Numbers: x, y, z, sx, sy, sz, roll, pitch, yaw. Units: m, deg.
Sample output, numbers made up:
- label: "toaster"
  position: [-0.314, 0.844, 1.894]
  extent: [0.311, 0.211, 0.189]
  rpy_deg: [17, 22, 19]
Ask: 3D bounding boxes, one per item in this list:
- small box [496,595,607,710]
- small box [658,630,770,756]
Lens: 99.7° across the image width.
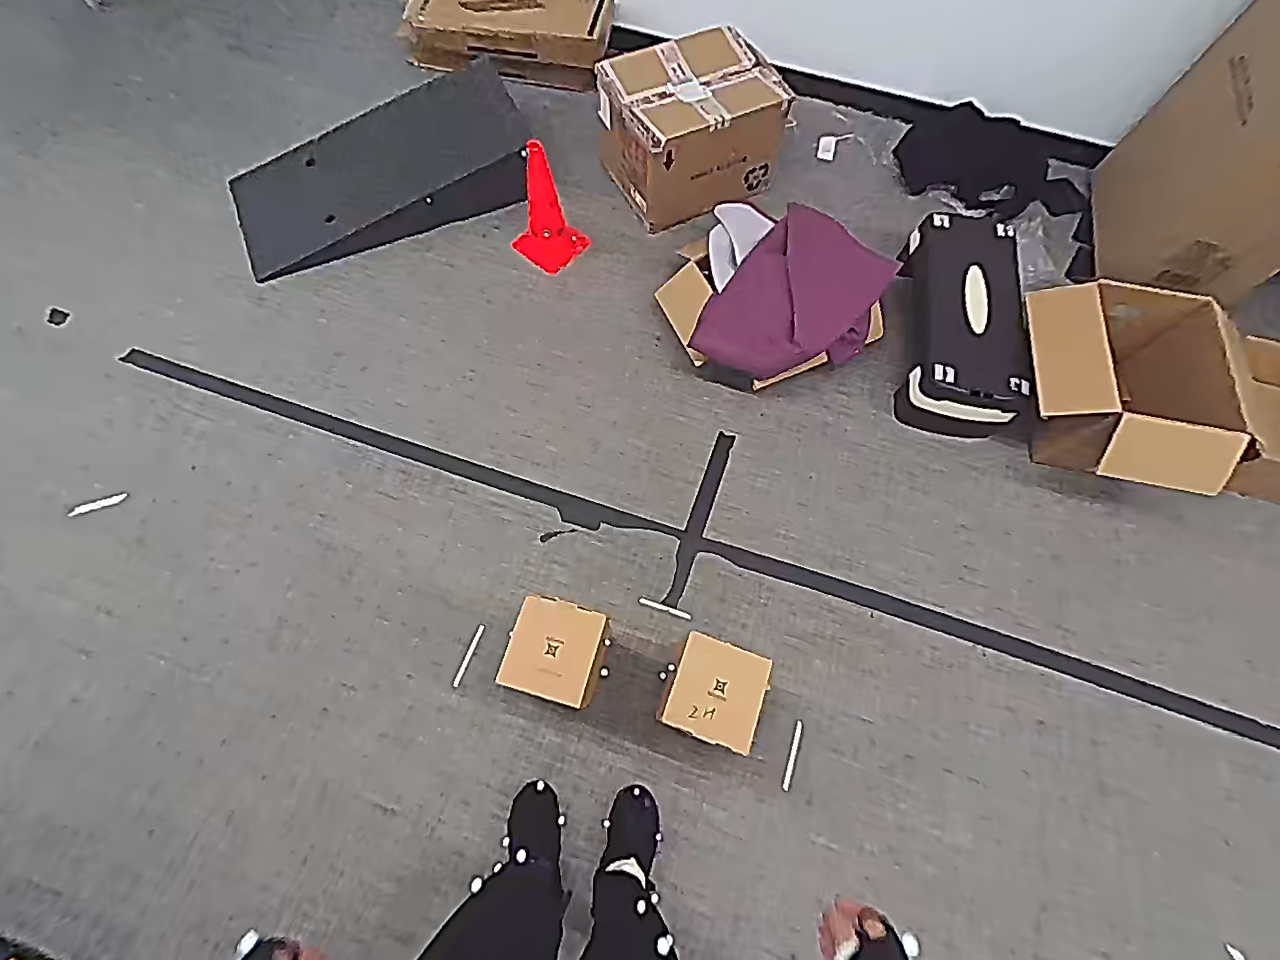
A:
- label: "small box"
  position: [-0.167, 0.350, 1.092]
  extent: [0.168, 0.176, 0.179]
  rpy_deg: [14, 69, 6]
- label: "small box"
  position: [0.138, 0.419, 1.072]
  extent: [0.168, 0.176, 0.179]
  rpy_deg: [20, 69, 6]
